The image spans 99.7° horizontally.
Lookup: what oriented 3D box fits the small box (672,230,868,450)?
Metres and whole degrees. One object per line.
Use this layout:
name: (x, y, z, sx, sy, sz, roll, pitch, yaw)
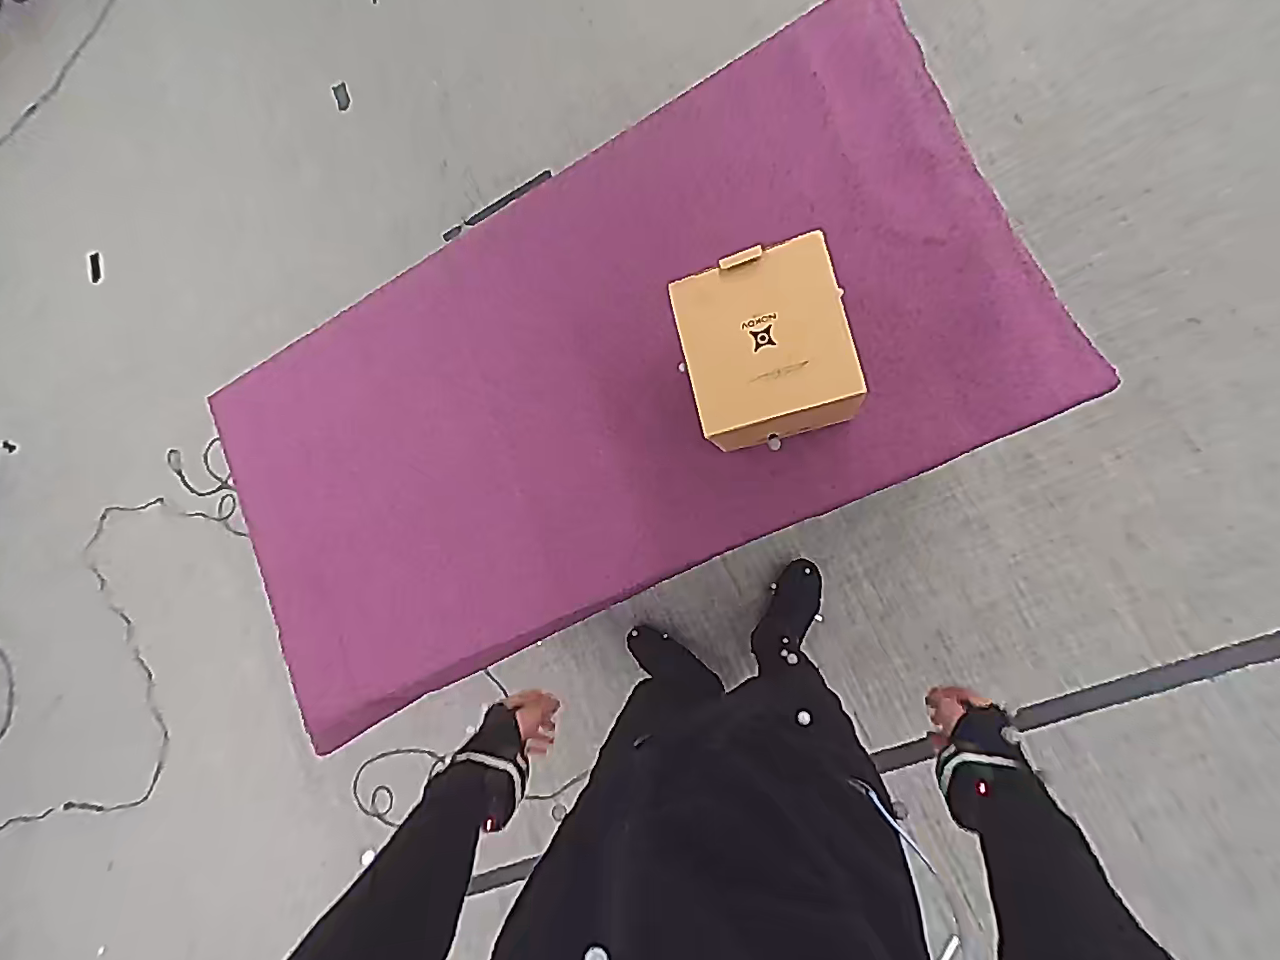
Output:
small box: (0.147, -0.143, 0.621, 0.168, 0.176, 0.179, -14, 83, 16)
